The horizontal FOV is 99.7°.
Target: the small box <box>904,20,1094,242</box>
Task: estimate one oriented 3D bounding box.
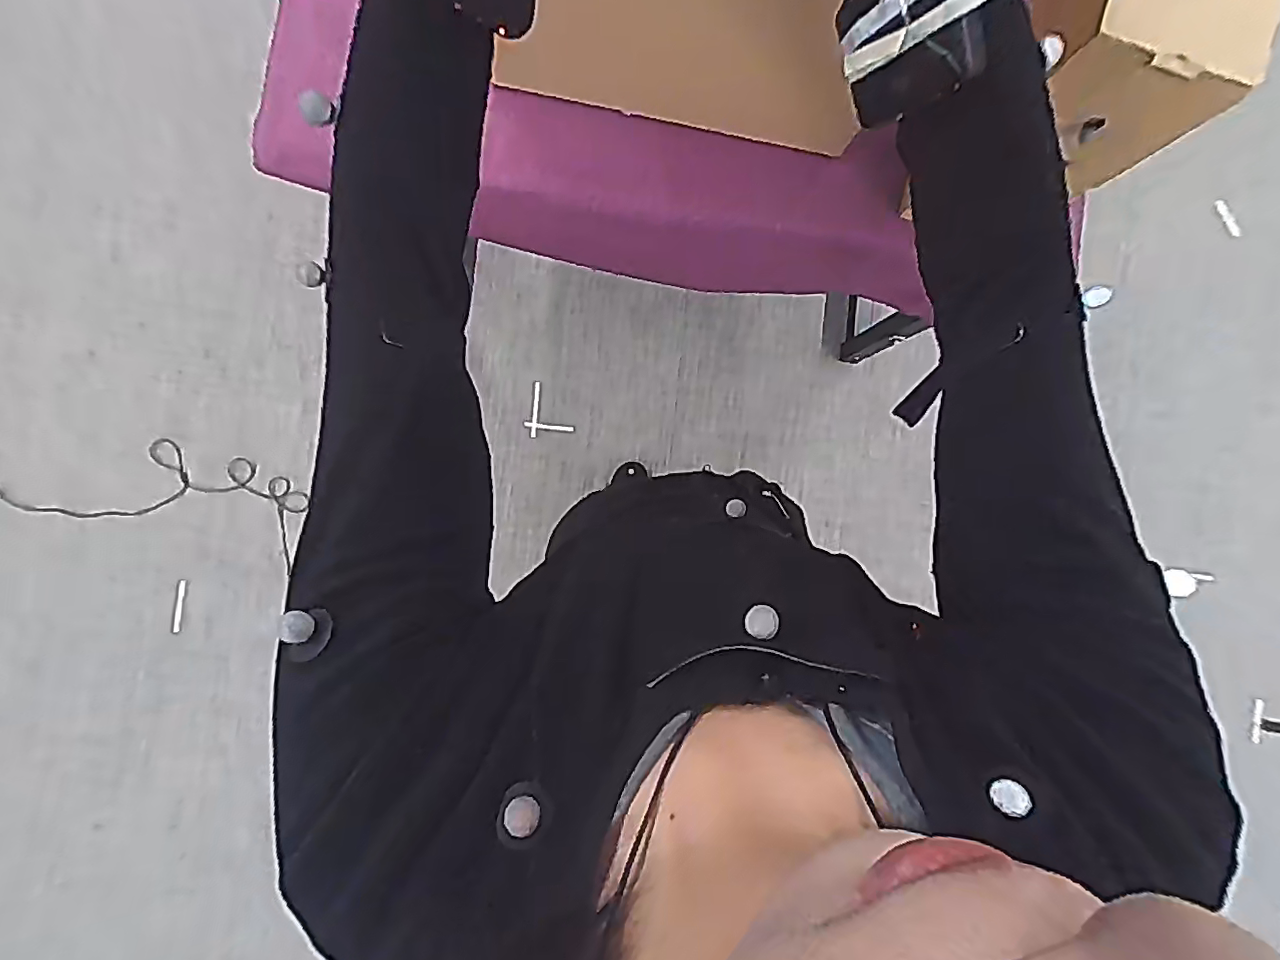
[{"bbox_3d":[0.496,-0.461,0.746,0.168,0.176,0.179,14,87,-4],"label":"small box"}]

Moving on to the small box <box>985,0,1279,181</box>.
[{"bbox_3d":[0.515,-0.465,0.582,0.168,0.176,0.179,18,88,-4],"label":"small box"}]
